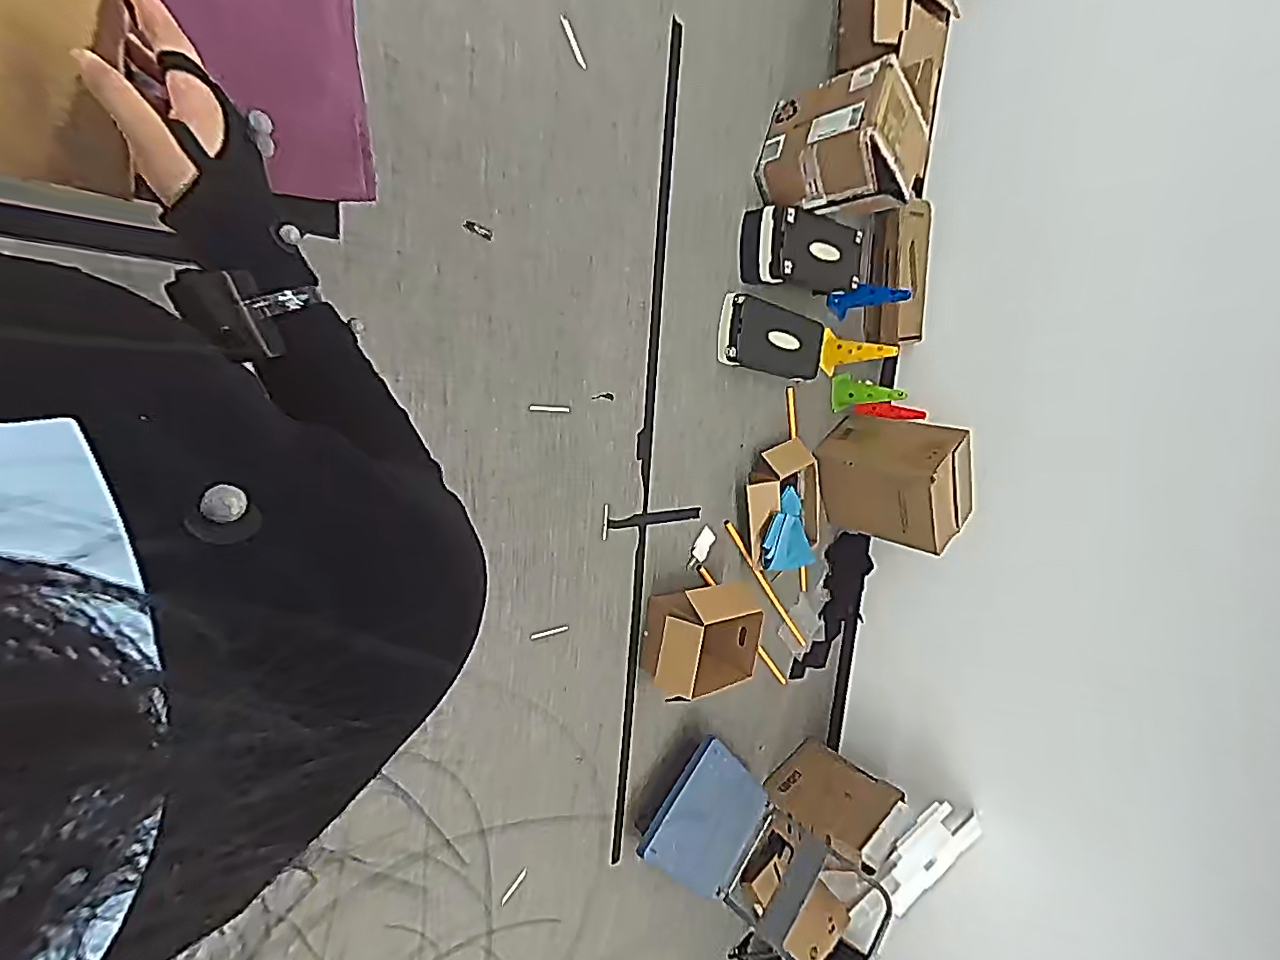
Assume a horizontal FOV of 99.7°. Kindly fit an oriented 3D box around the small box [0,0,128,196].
[{"bbox_3d":[-0.436,-0.312,0.339,0.168,0.176,0.179,-2,123,-44],"label":"small box"}]
